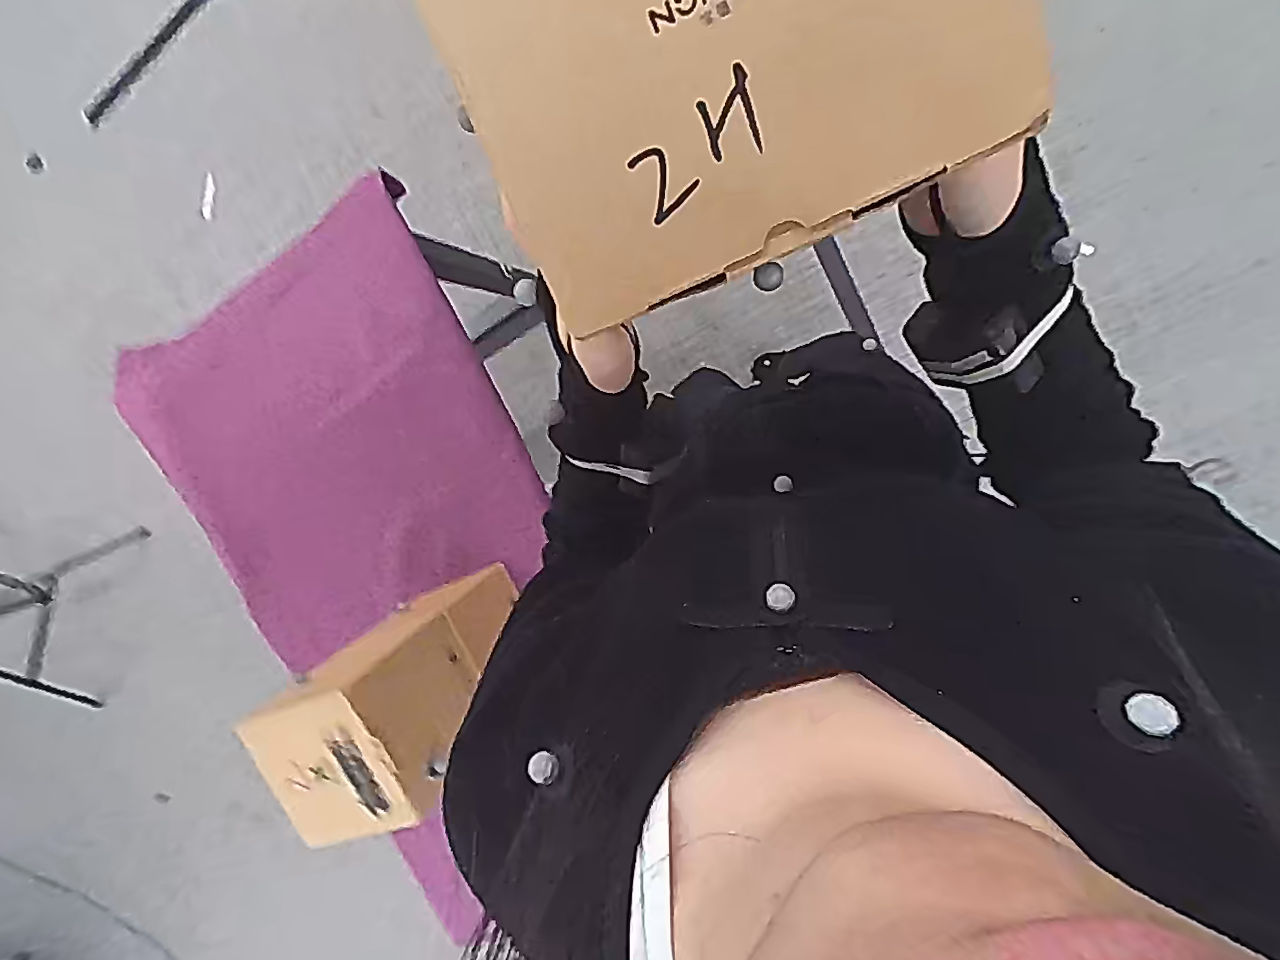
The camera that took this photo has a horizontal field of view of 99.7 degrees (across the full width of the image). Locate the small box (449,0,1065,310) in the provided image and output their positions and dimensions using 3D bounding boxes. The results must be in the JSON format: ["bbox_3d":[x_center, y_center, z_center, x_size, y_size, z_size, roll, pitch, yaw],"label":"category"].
[{"bbox_3d":[0.030,-0.189,0.232,0.168,0.176,0.179,-20,107,15],"label":"small box"}]

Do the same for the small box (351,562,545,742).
[{"bbox_3d":[-0.273,0.247,0.802,0.179,0.176,0.168,-24,97,17],"label":"small box"}]
